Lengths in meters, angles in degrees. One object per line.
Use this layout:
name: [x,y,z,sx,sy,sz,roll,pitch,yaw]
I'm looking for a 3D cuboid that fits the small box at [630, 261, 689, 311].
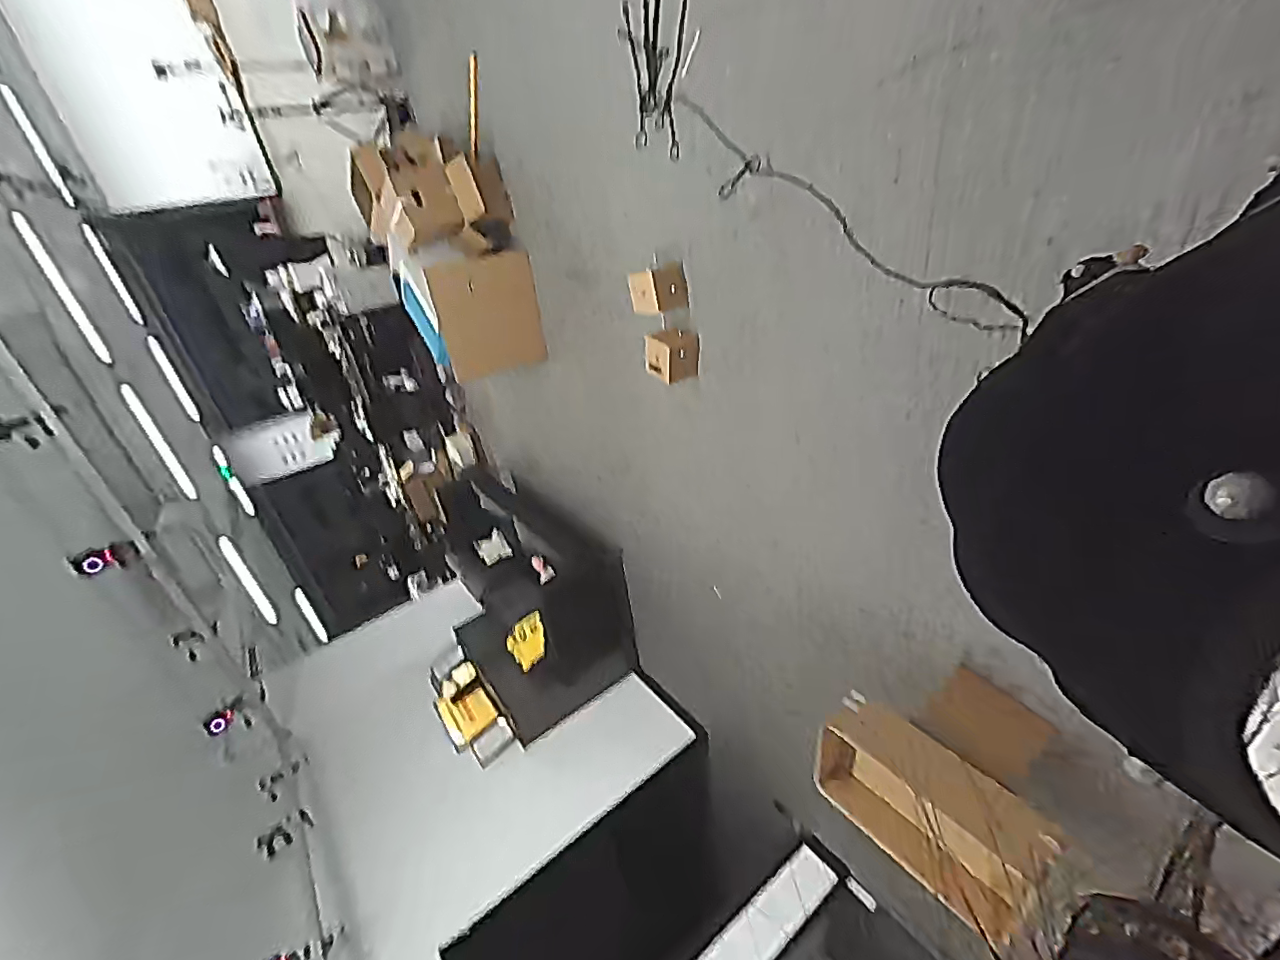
small box: [0.088,-0.810,2.262,0.179,0.176,0.168,22,131,52]
